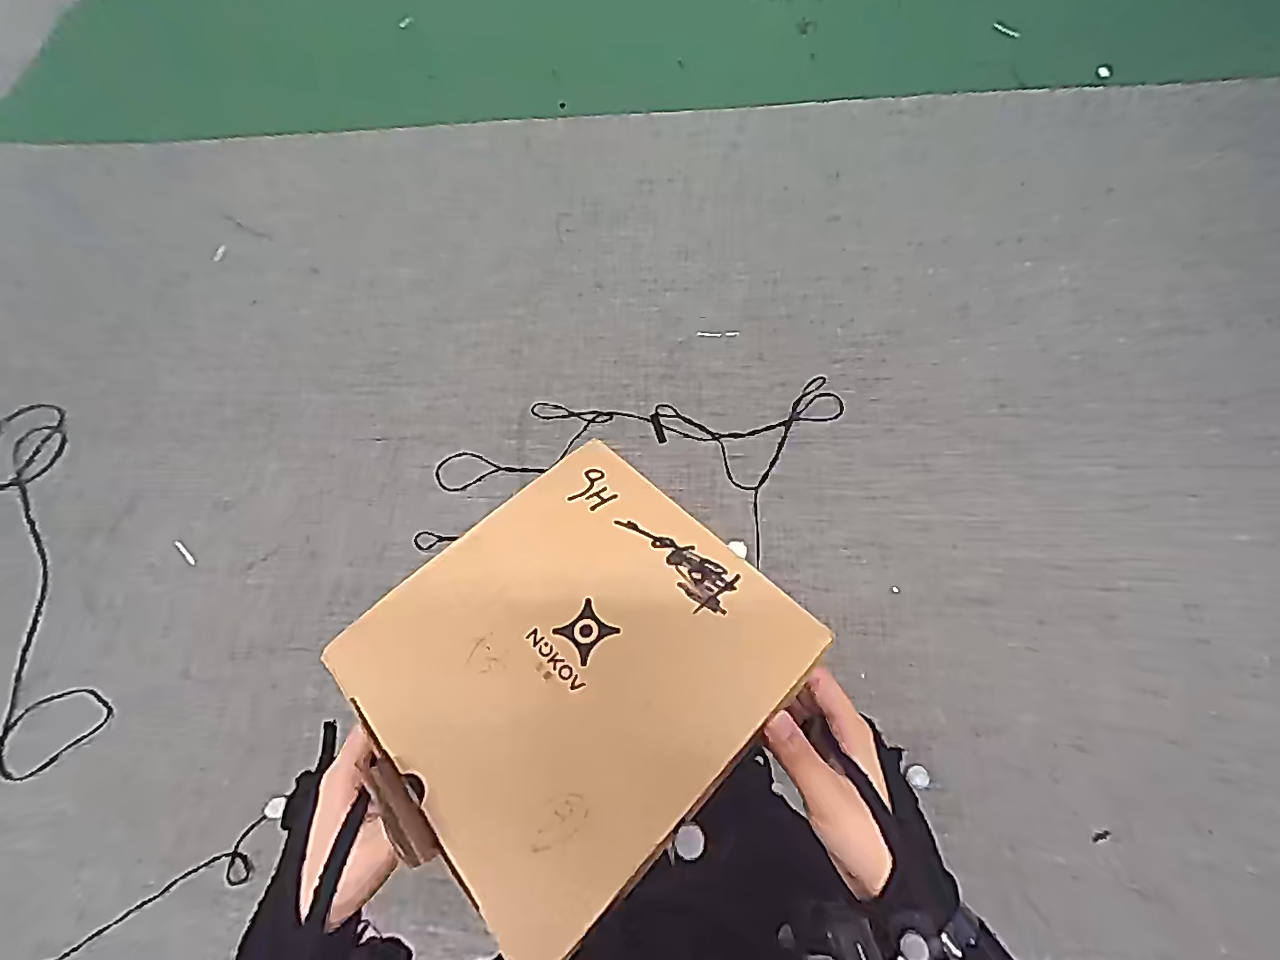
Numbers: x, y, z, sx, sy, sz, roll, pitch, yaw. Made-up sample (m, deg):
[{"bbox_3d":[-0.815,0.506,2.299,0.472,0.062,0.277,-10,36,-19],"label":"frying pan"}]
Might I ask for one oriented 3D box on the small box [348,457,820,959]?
[{"bbox_3d":[-0.023,0.128,0.325,0.179,0.176,0.168,-40,62,-20],"label":"small box"}]
